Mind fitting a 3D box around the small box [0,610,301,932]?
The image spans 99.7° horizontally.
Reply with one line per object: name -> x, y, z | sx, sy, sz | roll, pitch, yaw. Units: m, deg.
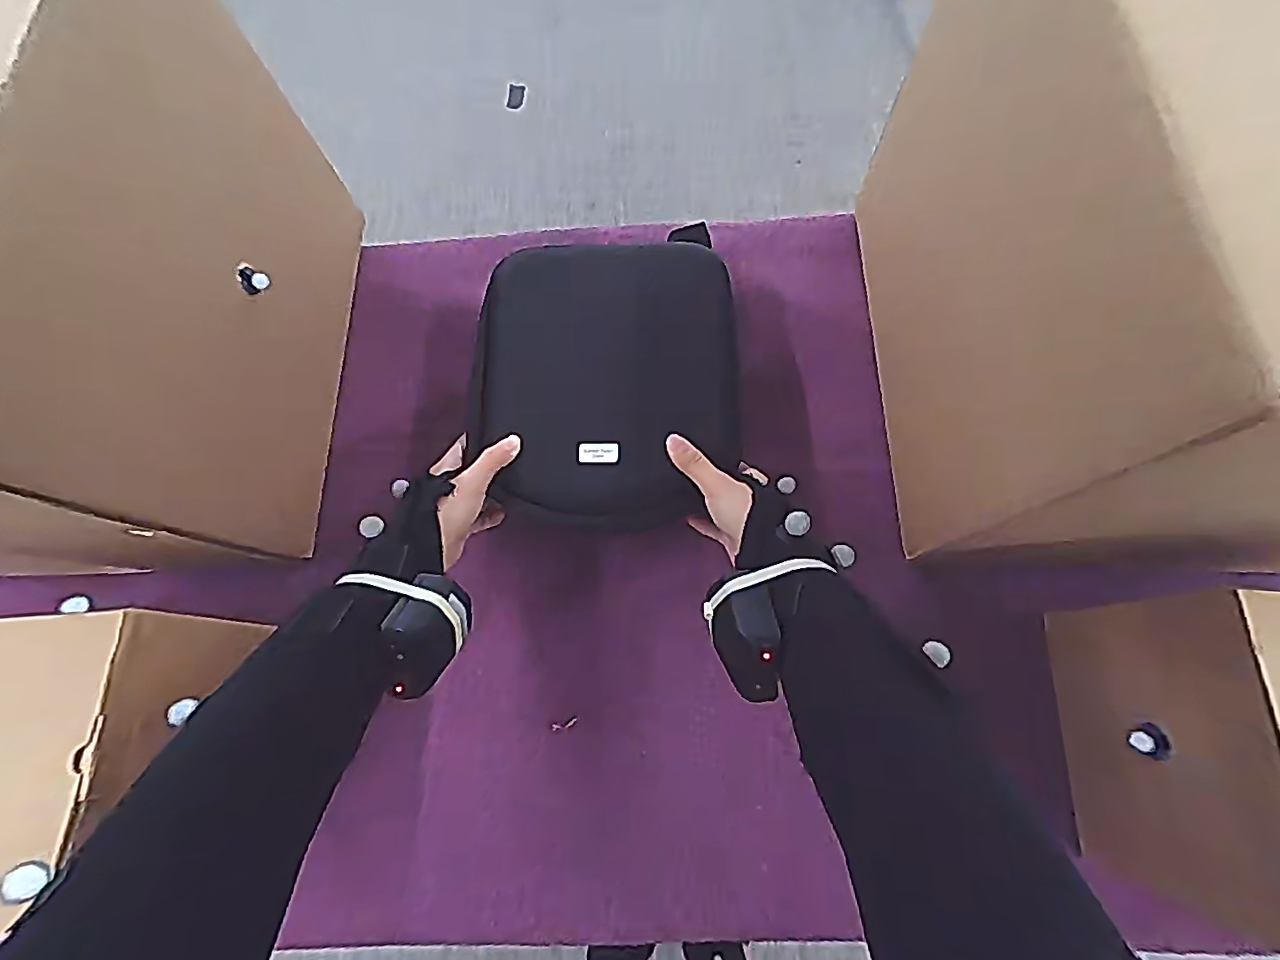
small box -> -0.388, 0.191, 0.384 | 0.179, 0.176, 0.168 | -5, 70, 1

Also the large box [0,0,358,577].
large box -> -0.464, -0.147, 0.429 | 0.320, 0.320, 0.408 | -3, 73, 1
